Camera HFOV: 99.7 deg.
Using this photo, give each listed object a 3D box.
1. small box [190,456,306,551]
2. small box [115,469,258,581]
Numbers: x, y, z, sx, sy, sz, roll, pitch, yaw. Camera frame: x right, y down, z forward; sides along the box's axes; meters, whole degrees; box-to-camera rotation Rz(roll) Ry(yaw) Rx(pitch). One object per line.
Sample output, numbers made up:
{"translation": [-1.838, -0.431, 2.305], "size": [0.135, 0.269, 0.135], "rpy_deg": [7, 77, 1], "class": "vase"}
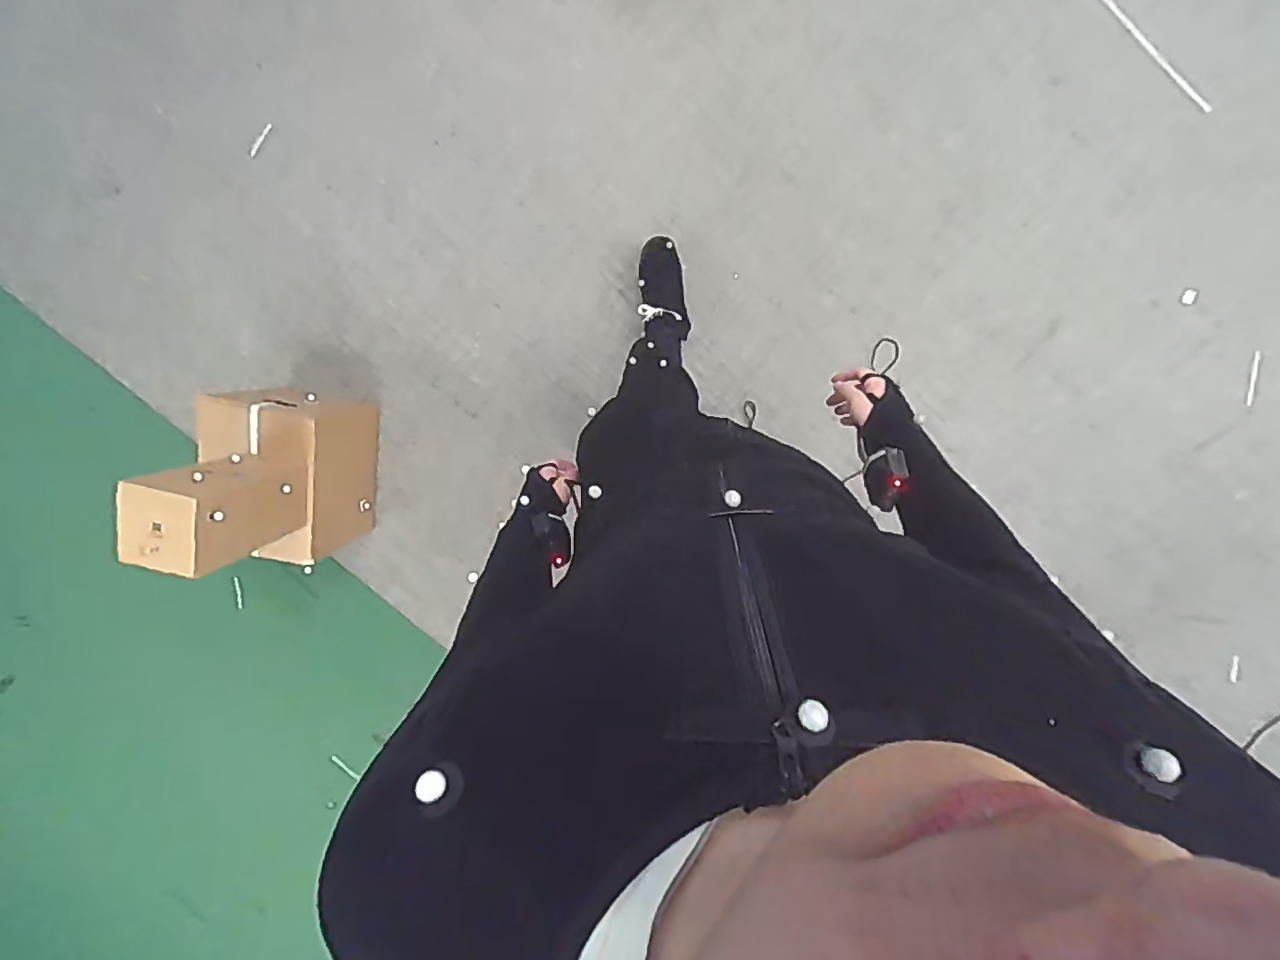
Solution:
{"translation": [-0.940, 0.048, 1.305], "size": [0.168, 0.176, 0.179], "rpy_deg": [11, 104, 1], "class": "small box"}
{"translation": [-0.950, 0.086, 1.146], "size": [0.168, 0.176, 0.179], "rpy_deg": [13, 104, 2], "class": "small box"}
